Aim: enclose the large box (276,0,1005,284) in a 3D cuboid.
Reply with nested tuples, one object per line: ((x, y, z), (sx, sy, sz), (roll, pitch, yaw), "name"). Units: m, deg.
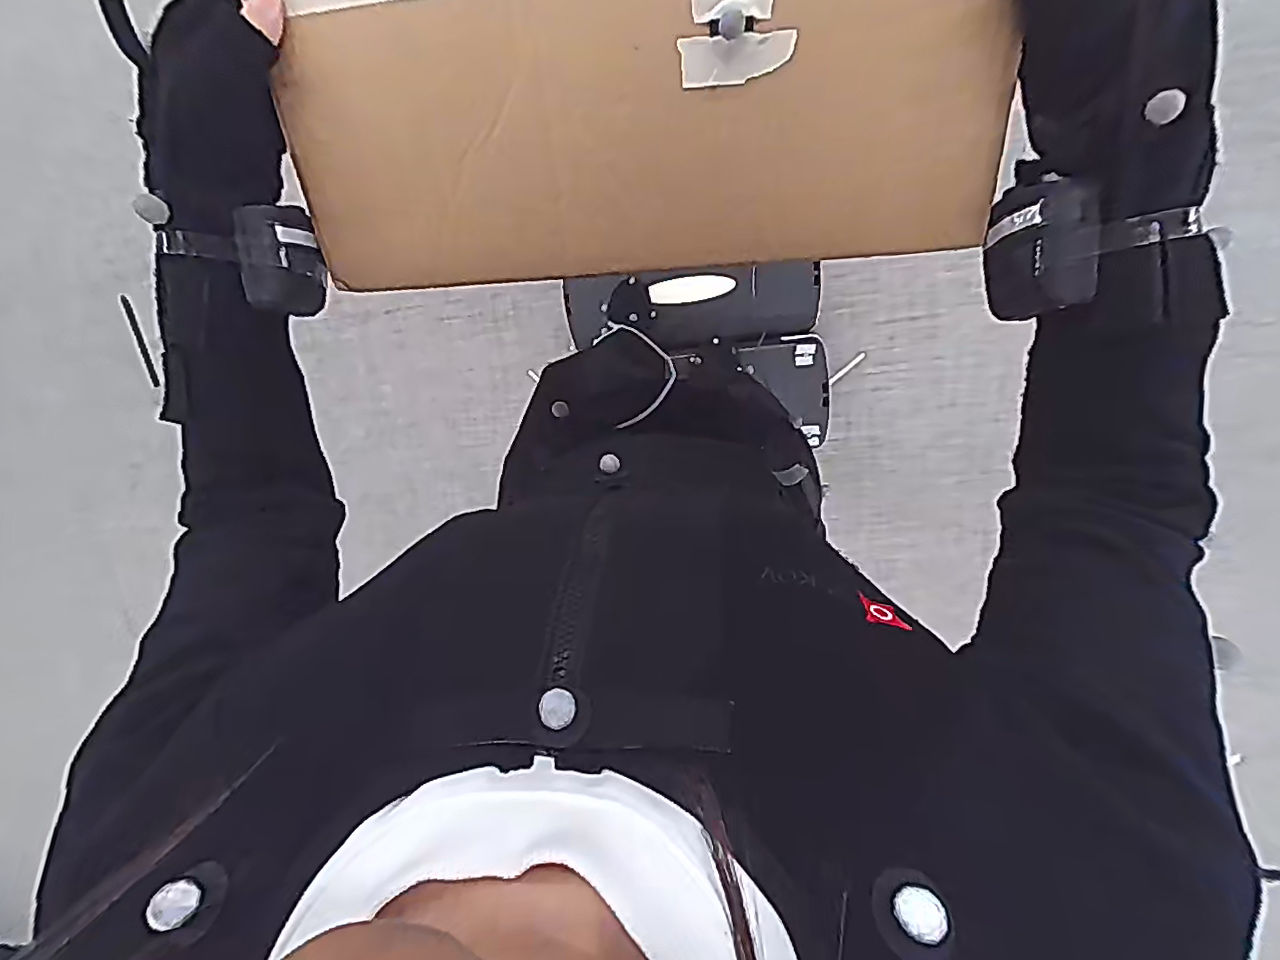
((0.003, -0.346, 0.413), (0.408, 0.320, 0.320), (-1, 117, 9), "large box")

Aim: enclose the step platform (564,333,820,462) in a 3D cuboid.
((0.137, -0.219, 1.485), (0.684, 0.204, 0.286), (-4, 106, 13), "step platform")
